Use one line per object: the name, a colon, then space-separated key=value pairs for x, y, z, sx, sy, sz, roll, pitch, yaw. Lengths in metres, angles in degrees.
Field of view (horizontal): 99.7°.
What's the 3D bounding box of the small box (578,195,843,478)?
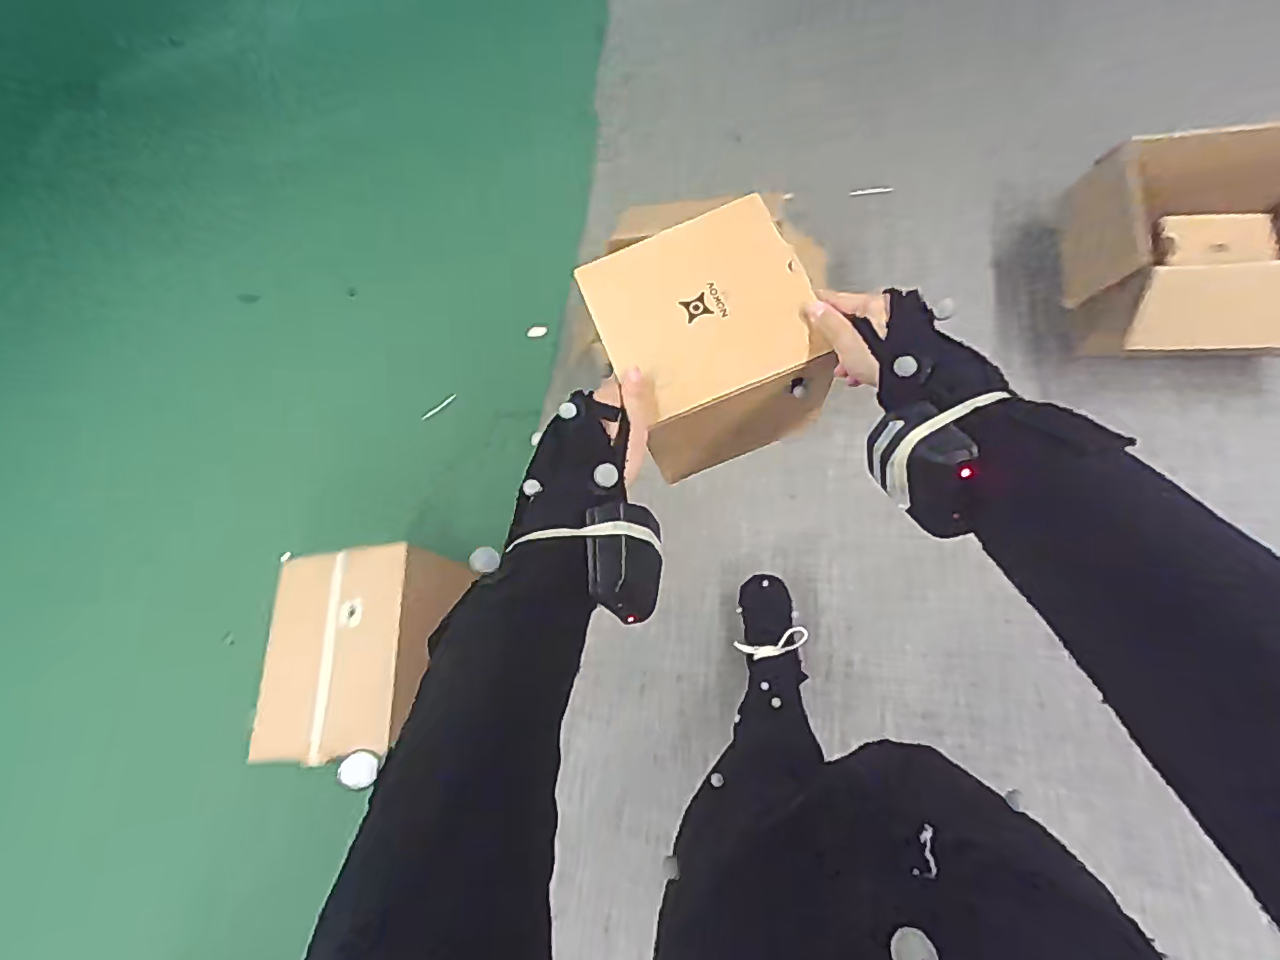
small box: x=0.063 y=-0.120 z=0.516 sx=0.179 sy=0.176 sz=0.168 roll=-21 pitch=71 yaw=1
